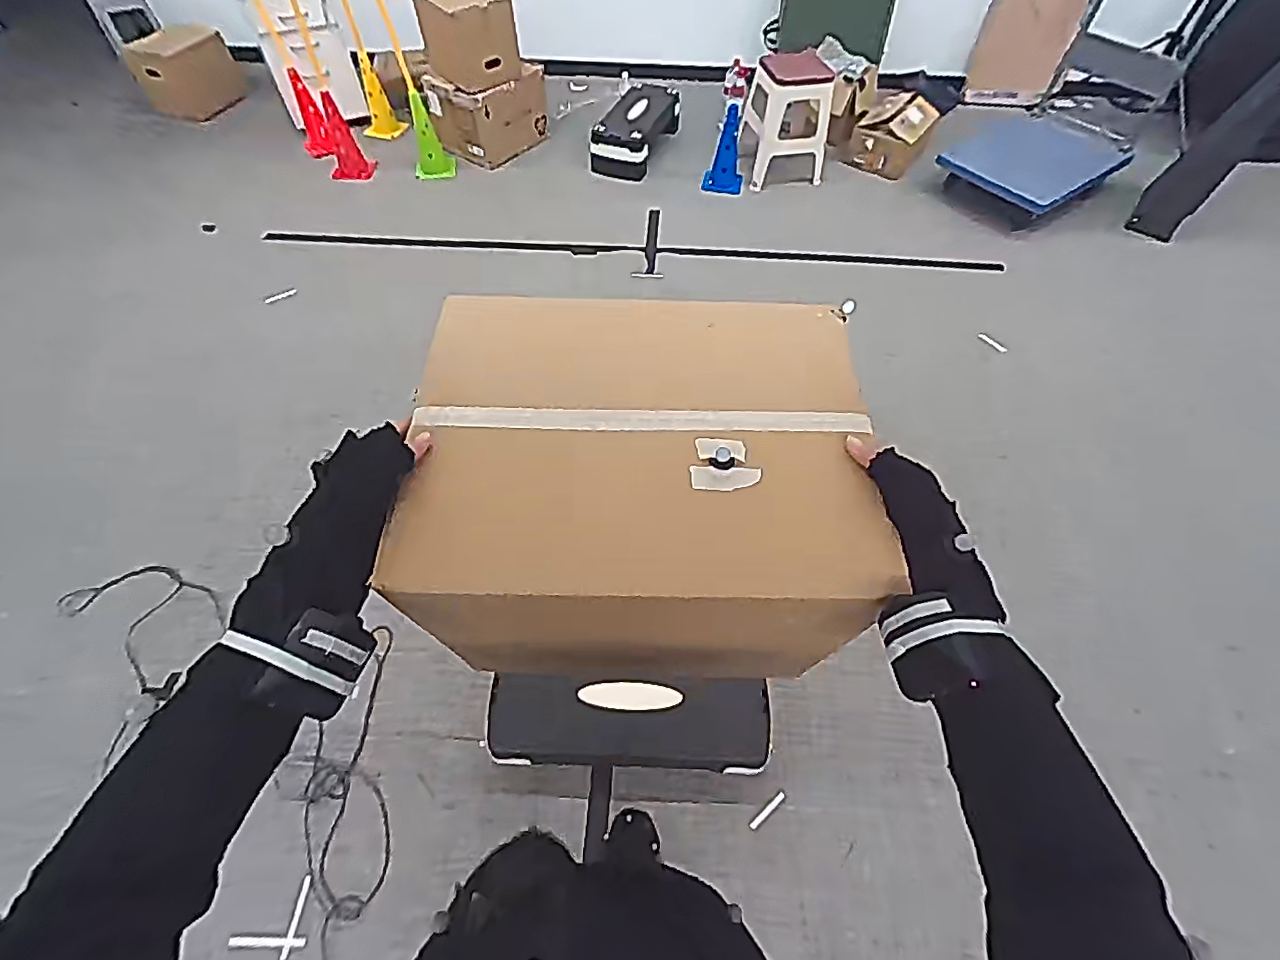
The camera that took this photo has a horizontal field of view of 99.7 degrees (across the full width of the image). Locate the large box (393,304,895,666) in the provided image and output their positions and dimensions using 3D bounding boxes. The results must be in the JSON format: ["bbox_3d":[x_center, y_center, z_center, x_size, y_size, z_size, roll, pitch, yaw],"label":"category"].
[{"bbox_3d":[0.000,0.024,0.623,0.408,0.320,0.320,1,60,-1],"label":"large box"}]
